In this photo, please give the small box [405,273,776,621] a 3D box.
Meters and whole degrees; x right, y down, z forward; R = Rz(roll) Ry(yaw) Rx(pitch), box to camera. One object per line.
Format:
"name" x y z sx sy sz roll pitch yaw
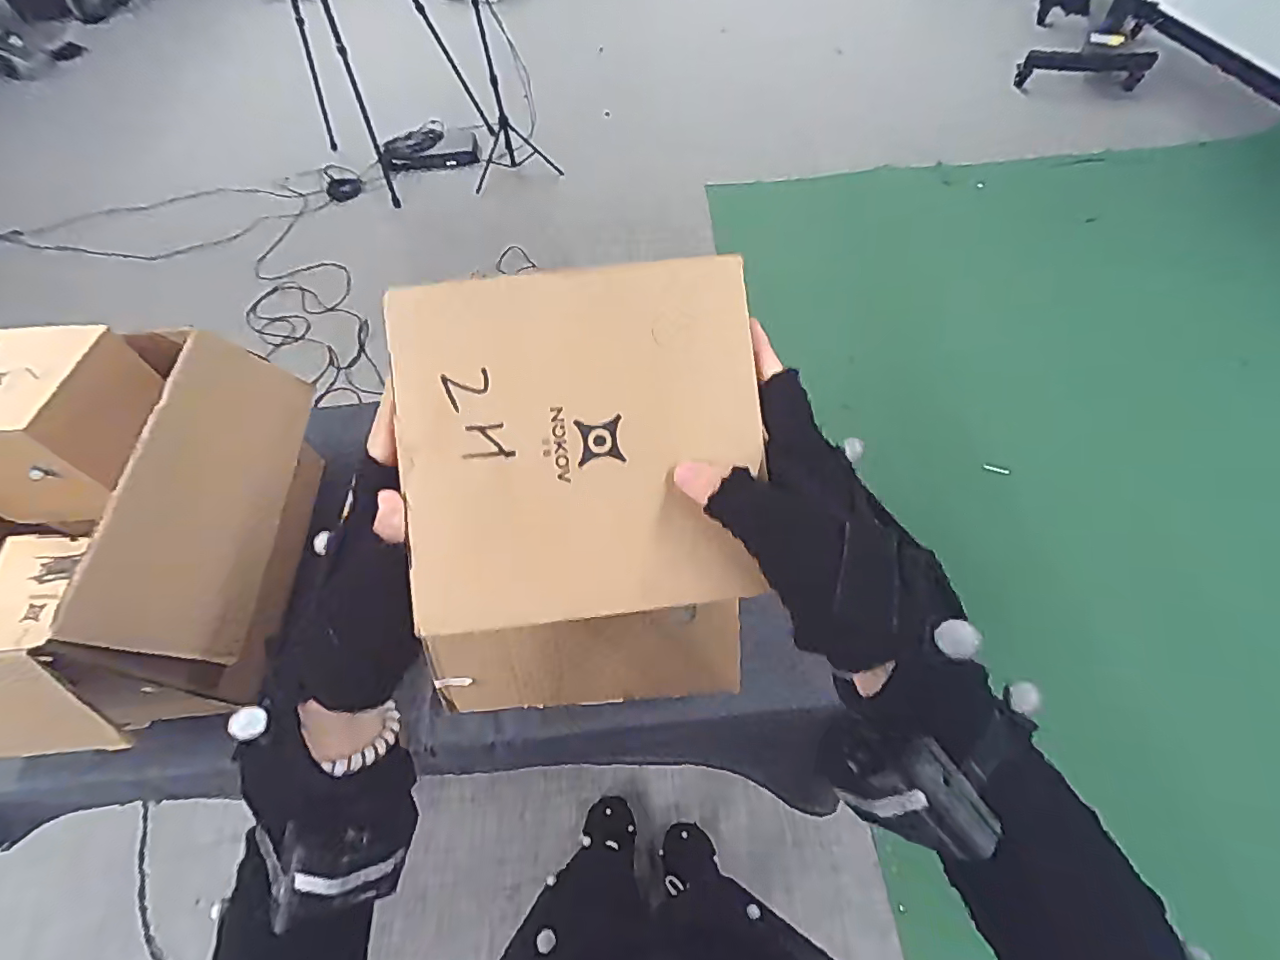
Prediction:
"small box" -0.029 -0.015 0.347 0.179 0.176 0.168 -5 87 -3
